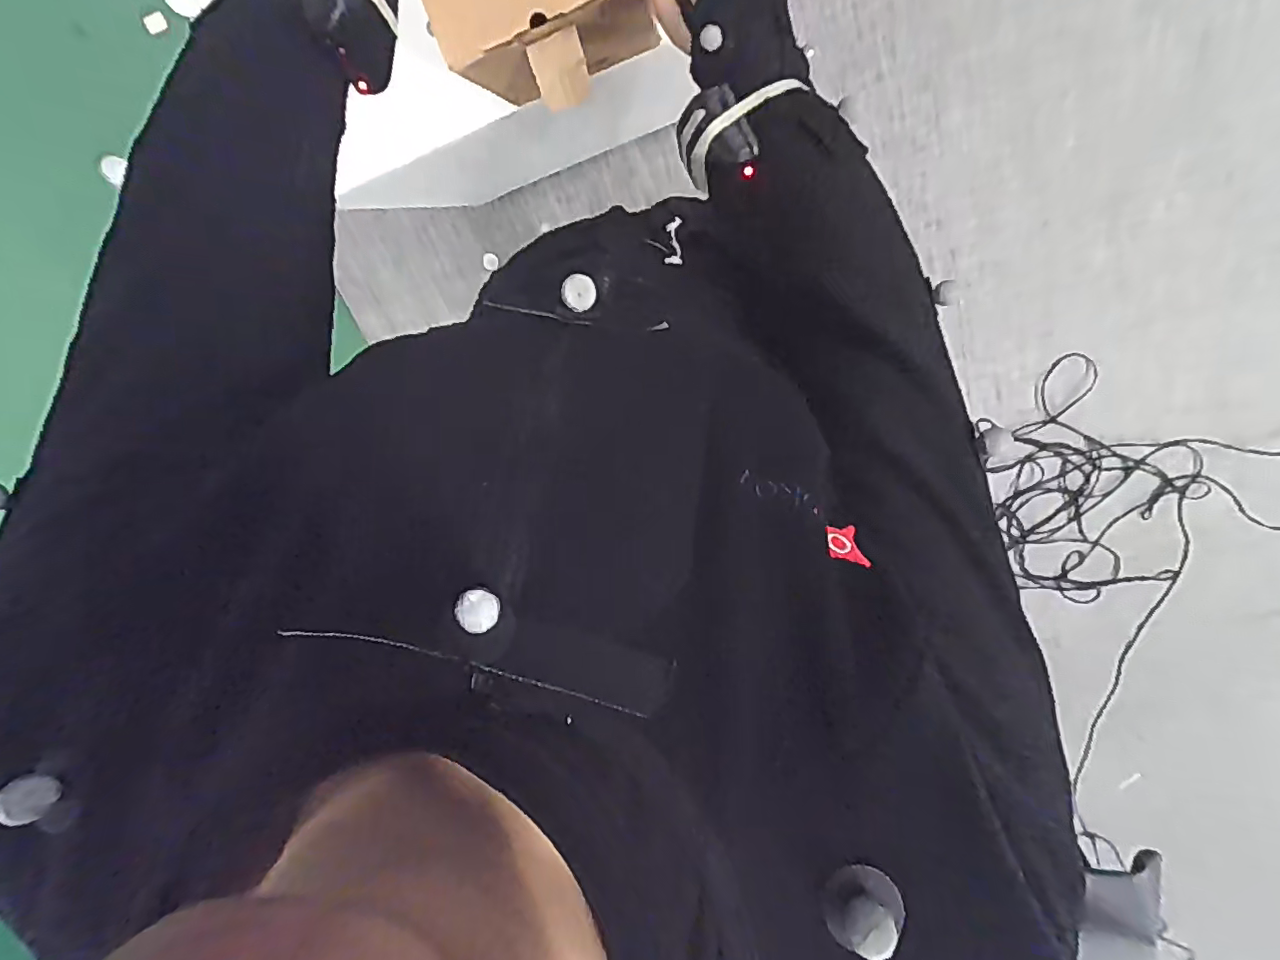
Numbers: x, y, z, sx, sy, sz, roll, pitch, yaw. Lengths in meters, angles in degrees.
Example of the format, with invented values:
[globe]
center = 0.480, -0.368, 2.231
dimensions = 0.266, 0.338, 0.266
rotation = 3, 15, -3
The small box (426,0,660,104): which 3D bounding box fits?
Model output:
[small box]
center = -0.088, -0.453, 0.450
dimensions = 0.168, 0.176, 0.179
rotation = -13, 114, 14
